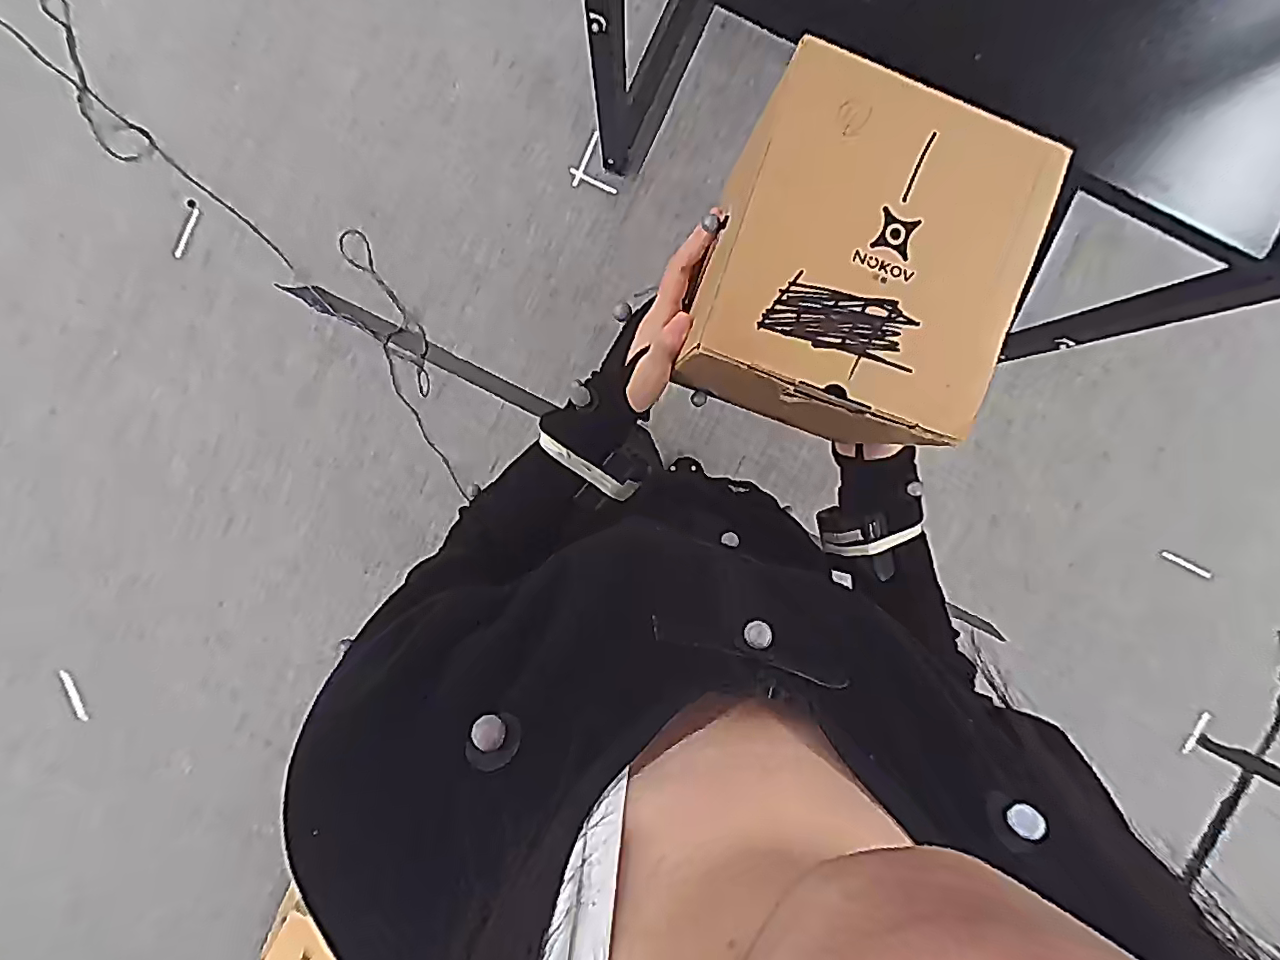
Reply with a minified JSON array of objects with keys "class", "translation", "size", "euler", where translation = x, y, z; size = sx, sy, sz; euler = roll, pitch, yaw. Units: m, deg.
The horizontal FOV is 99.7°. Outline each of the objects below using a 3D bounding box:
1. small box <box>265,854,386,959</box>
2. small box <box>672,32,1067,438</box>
[{"class":"small box","translation":[-0.749,1.065,1.304],"size":[0.168,0.176,0.179],"euler":[28,92,-3]},{"class":"small box","translation":[0.128,-0.136,0.376],"size":[0.168,0.176,0.179],"euler":[19,92,-6]}]
